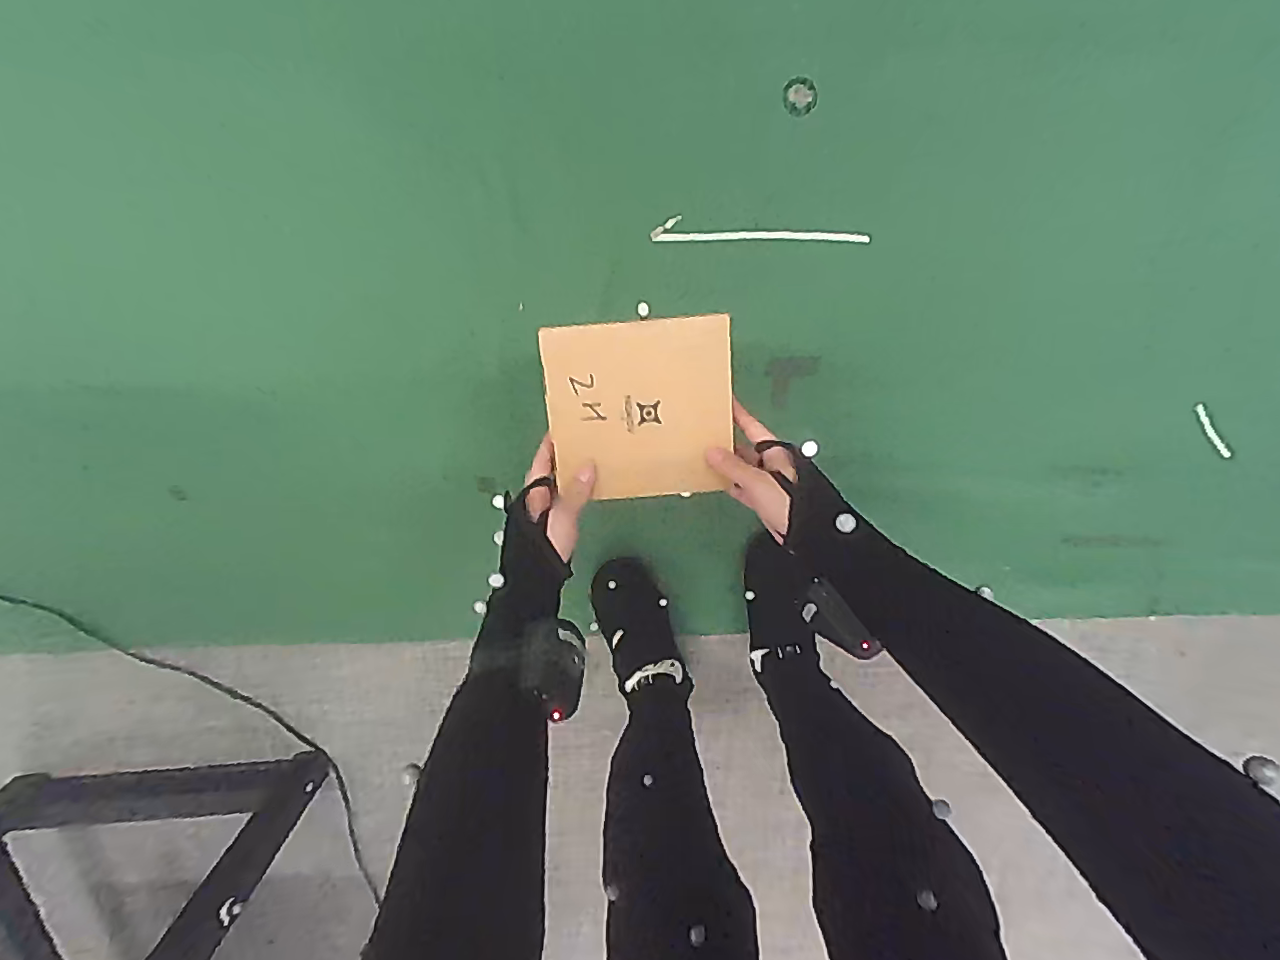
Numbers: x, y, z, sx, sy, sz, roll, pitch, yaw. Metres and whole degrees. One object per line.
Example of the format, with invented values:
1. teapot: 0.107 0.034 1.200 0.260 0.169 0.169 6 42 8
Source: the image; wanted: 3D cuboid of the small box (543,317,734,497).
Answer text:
1. small box: 0.002 -0.088 0.590 0.179 0.176 0.168 -4 106 2
